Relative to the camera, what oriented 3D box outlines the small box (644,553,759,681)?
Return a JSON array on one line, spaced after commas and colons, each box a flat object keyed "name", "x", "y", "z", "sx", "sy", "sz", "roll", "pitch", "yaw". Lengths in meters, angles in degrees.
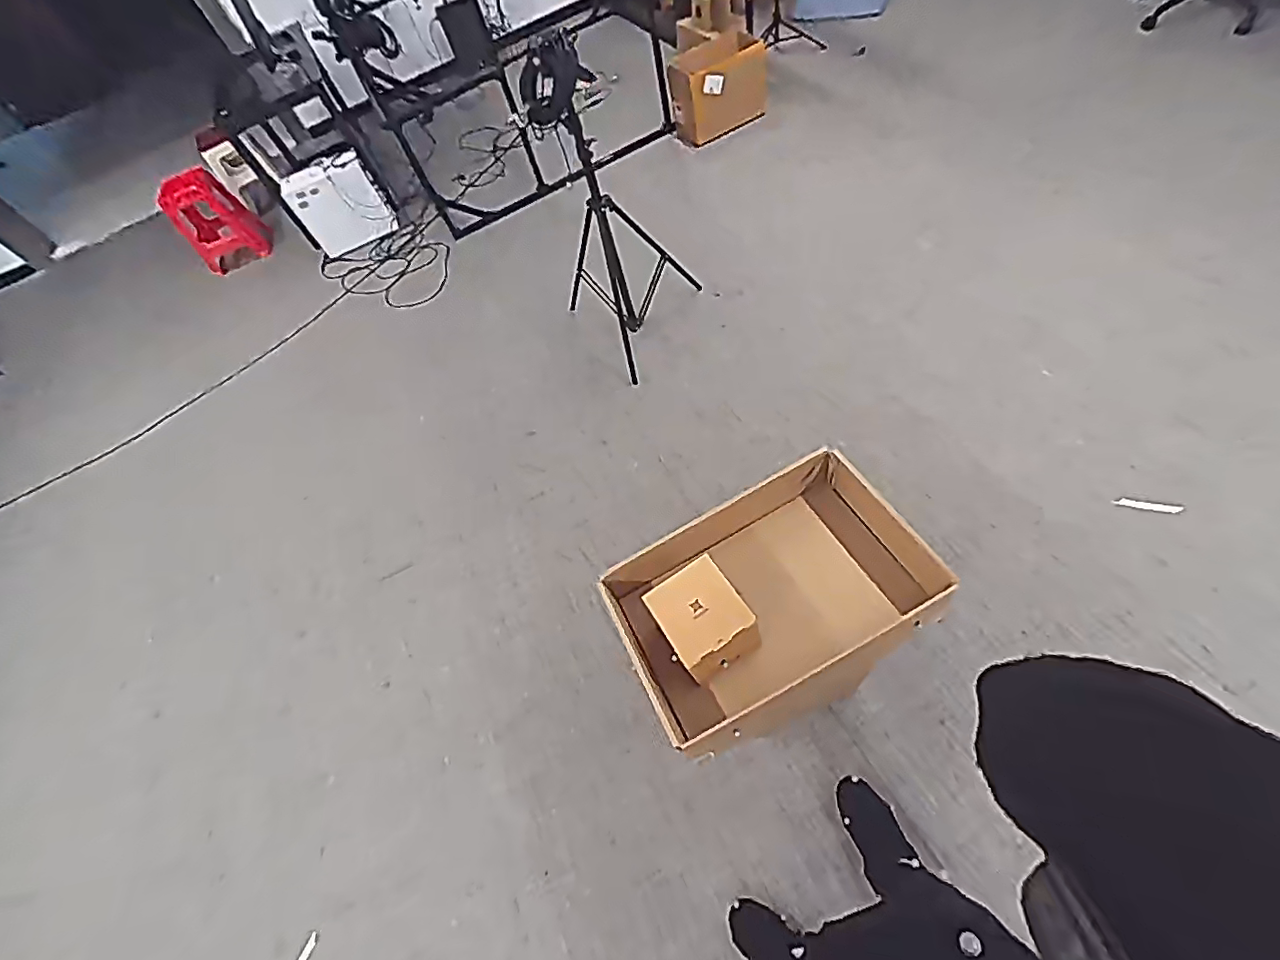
[{"name": "small box", "x": 0.132, "y": 0.292, "z": 1.133, "sx": 0.168, "sy": 0.176, "sz": 0.179, "roll": -33, "pitch": 56, "yaw": -6}]
